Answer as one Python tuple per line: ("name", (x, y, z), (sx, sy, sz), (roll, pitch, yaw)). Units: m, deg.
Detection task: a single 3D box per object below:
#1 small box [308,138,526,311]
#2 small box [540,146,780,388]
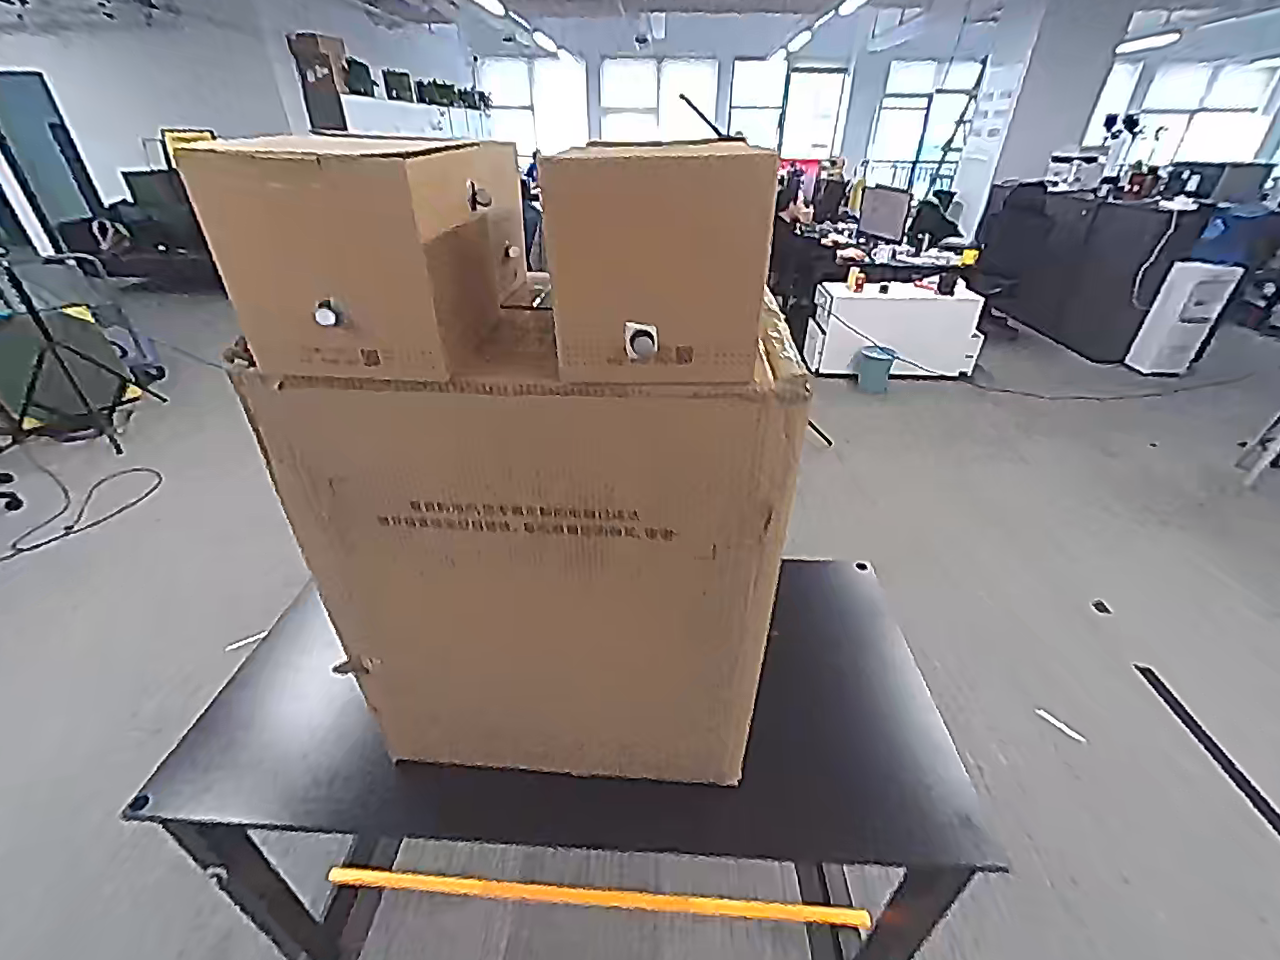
("small box", (-0.247, -0.306, 0.649), (0.179, 0.176, 0.168), (4, 32, 3))
("small box", (0.016, -0.191, 0.476), (0.168, 0.176, 0.179), (-2, 34, 1))
